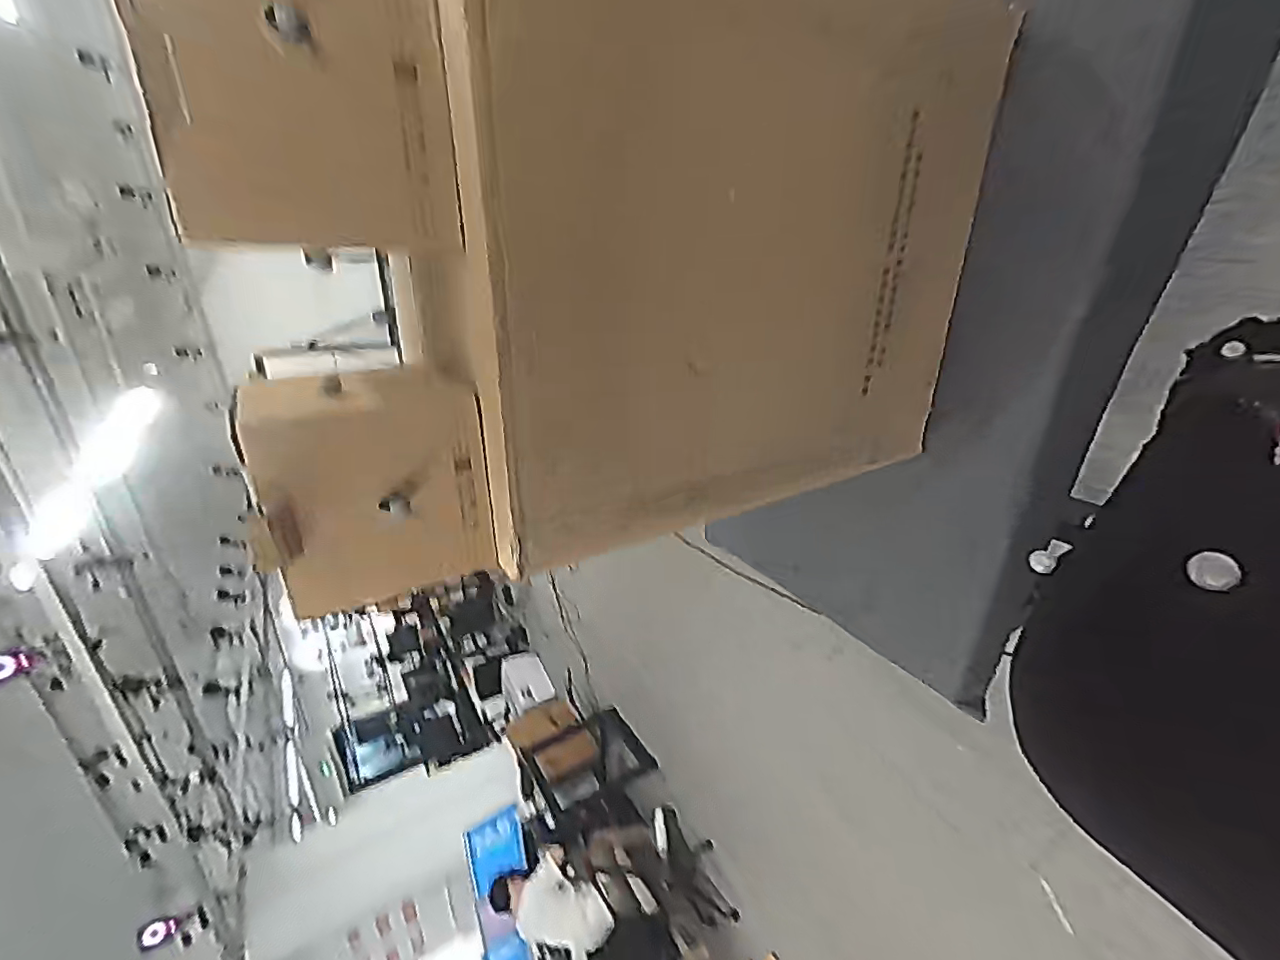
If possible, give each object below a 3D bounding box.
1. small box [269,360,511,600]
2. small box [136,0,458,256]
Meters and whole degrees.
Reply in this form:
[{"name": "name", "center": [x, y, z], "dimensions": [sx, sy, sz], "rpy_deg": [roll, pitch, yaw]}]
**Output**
[{"name": "small box", "center": [-0.231, -0.018, 0.521], "dimensions": [0.179, 0.176, 0.168], "rpy_deg": [25, 125, 52]}, {"name": "small box", "center": [-0.241, -0.260, 0.403], "dimensions": [0.179, 0.176, 0.168], "rpy_deg": [30, 125, 51]}]
